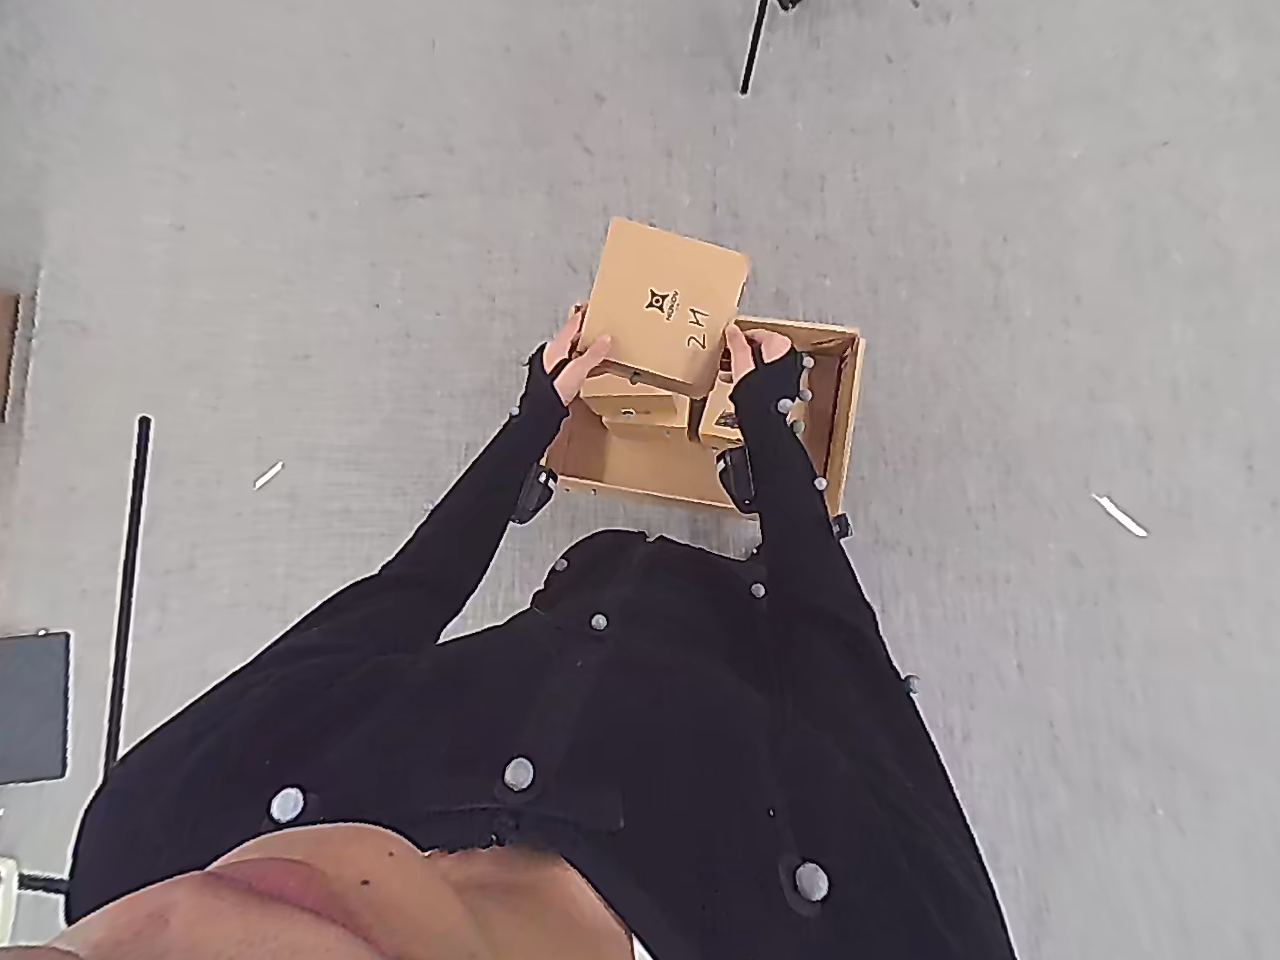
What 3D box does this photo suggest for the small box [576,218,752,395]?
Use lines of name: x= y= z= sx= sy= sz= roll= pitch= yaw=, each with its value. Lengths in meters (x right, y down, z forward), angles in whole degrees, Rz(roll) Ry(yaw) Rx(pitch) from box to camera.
small box: x=0.028 y=-0.216 z=0.723 sx=0.179 sy=0.176 sz=0.168 roll=16 pitch=96 yaw=-2

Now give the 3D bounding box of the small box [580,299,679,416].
small box: x=-0.012 y=-0.225 z=1.019 sx=0.168 sy=0.176 sz=0.179 roll=0 pitch=84 yaw=8
